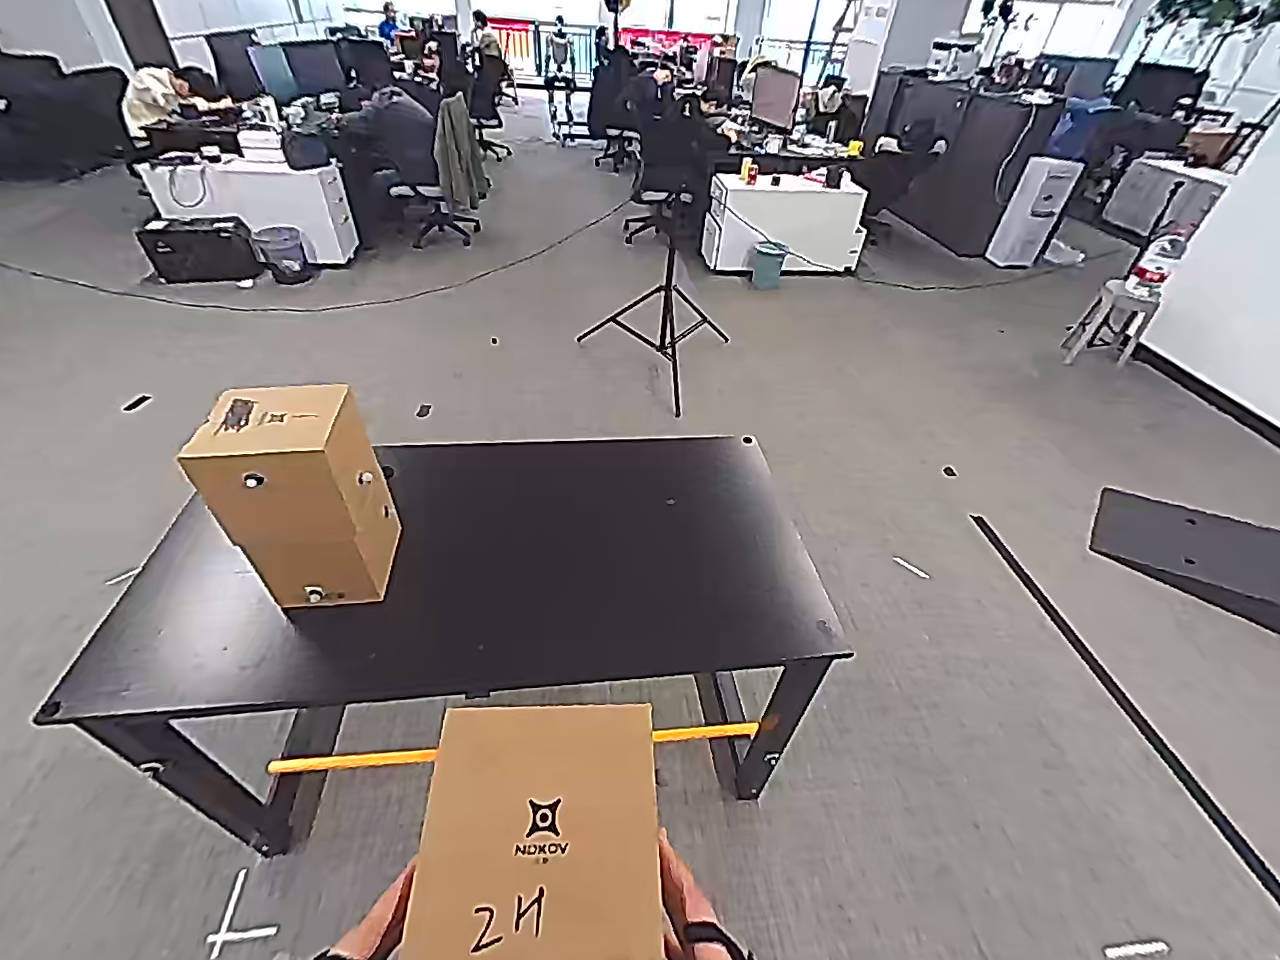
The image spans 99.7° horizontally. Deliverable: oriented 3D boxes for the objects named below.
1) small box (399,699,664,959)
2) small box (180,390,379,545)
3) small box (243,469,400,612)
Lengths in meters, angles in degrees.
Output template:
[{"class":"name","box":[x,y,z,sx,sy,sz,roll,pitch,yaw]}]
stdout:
[{"class":"small box","box":[-0.073,0.299,0.441,0.168,0.176,0.179,0,47,-4]},{"class":"small box","box":[-0.520,-0.018,0.813,0.179,0.176,0.168,-5,42,-9]},{"class":"small box","box":[-0.526,0.102,0.927,0.168,0.176,0.179,-4,43,-8]}]
